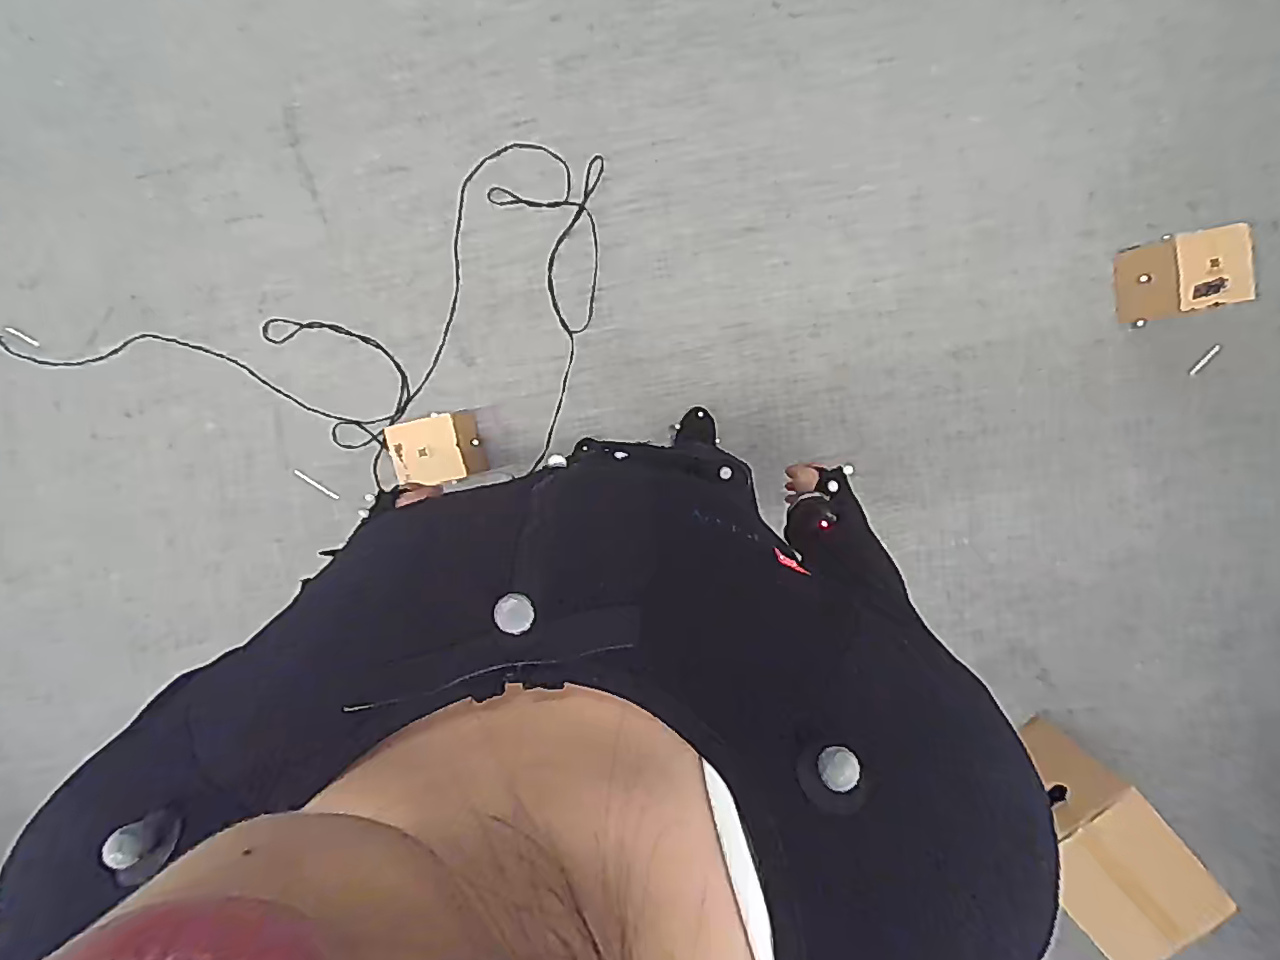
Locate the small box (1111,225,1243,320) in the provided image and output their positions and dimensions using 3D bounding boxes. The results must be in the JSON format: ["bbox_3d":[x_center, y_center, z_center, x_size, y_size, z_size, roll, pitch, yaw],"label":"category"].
[{"bbox_3d":[1.306,-0.497,1.325,0.168,0.176,0.179,-9,96,2],"label":"small box"}]

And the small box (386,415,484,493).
[{"bbox_3d":[-0.520,-0.073,1.406,0.179,0.176,0.168,-13,96,2],"label":"small box"}]
